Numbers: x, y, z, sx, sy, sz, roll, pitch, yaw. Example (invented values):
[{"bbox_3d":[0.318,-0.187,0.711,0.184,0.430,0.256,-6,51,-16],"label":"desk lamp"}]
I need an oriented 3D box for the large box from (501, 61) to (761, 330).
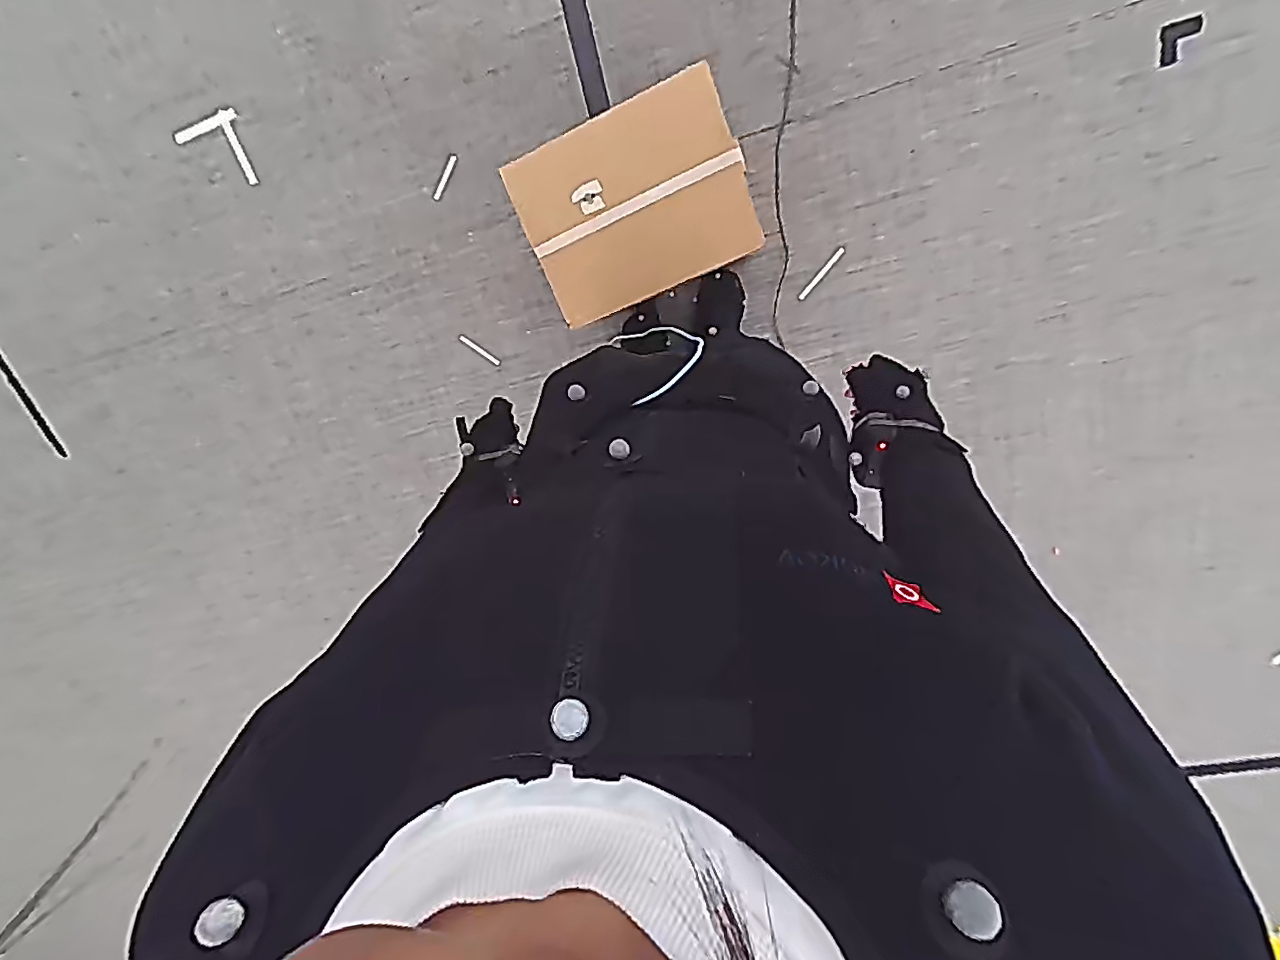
[{"bbox_3d":[0.001,-0.550,1.119,0.408,0.320,0.320,-20,106,14],"label":"large box"}]
